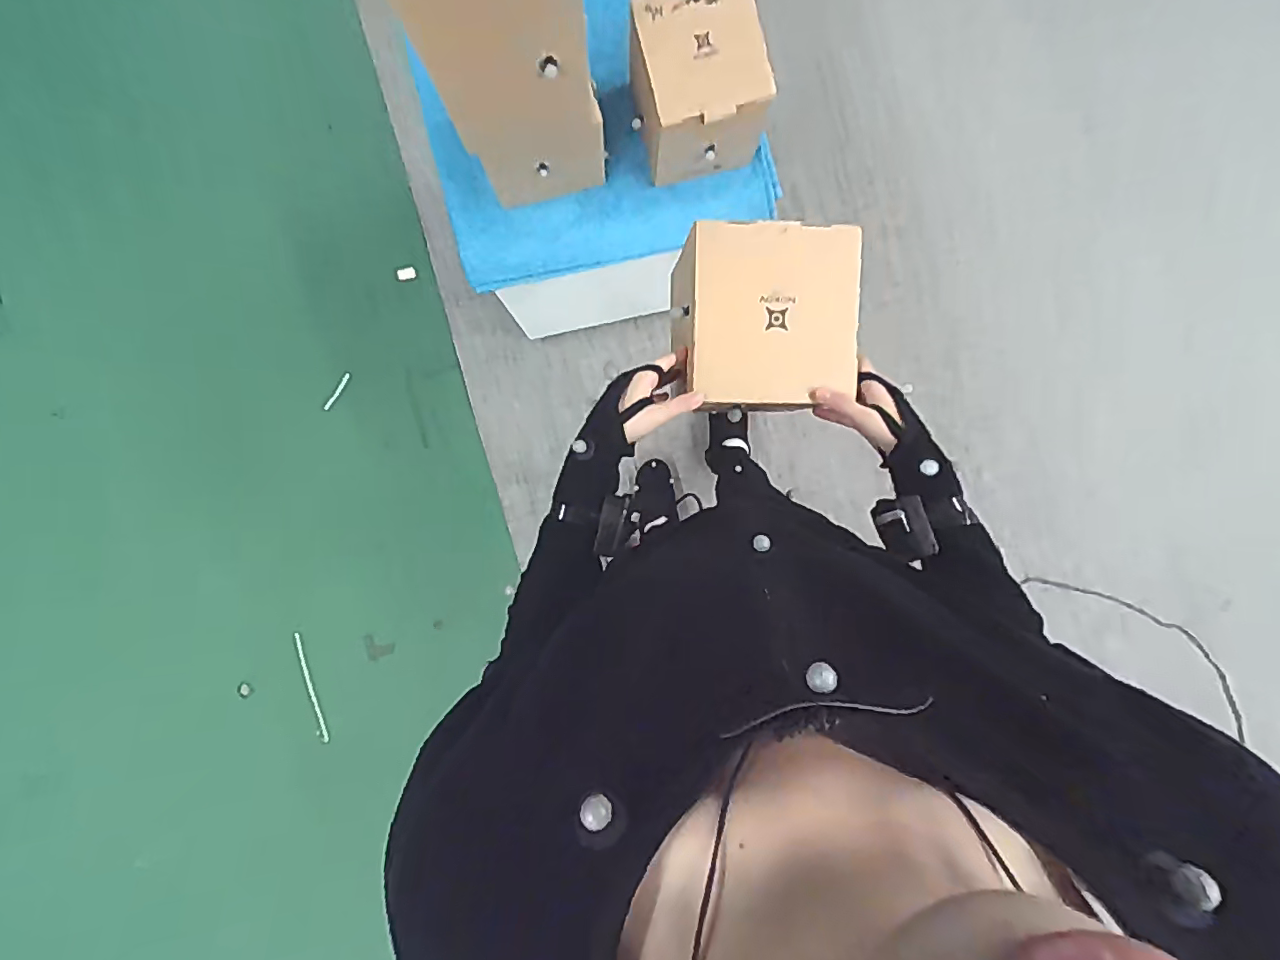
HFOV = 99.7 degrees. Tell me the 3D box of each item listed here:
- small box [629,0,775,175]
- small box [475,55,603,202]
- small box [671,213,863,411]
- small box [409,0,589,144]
[{"bbox_3d":[0.083,-0.582,0.798,0.168,0.176,0.179,-14,92,-1],"label":"small box"},{"bbox_3d":[-0.156,-0.541,0.792,0.179,0.176,0.168,-14,92,-1],"label":"small box"},{"bbox_3d":[0.127,-0.168,0.596,0.168,0.176,0.179,-1,92,-4],"label":"small box"},{"bbox_3d":[-0.160,-0.532,0.627,0.179,0.176,0.168,-14,91,-1],"label":"small box"}]
